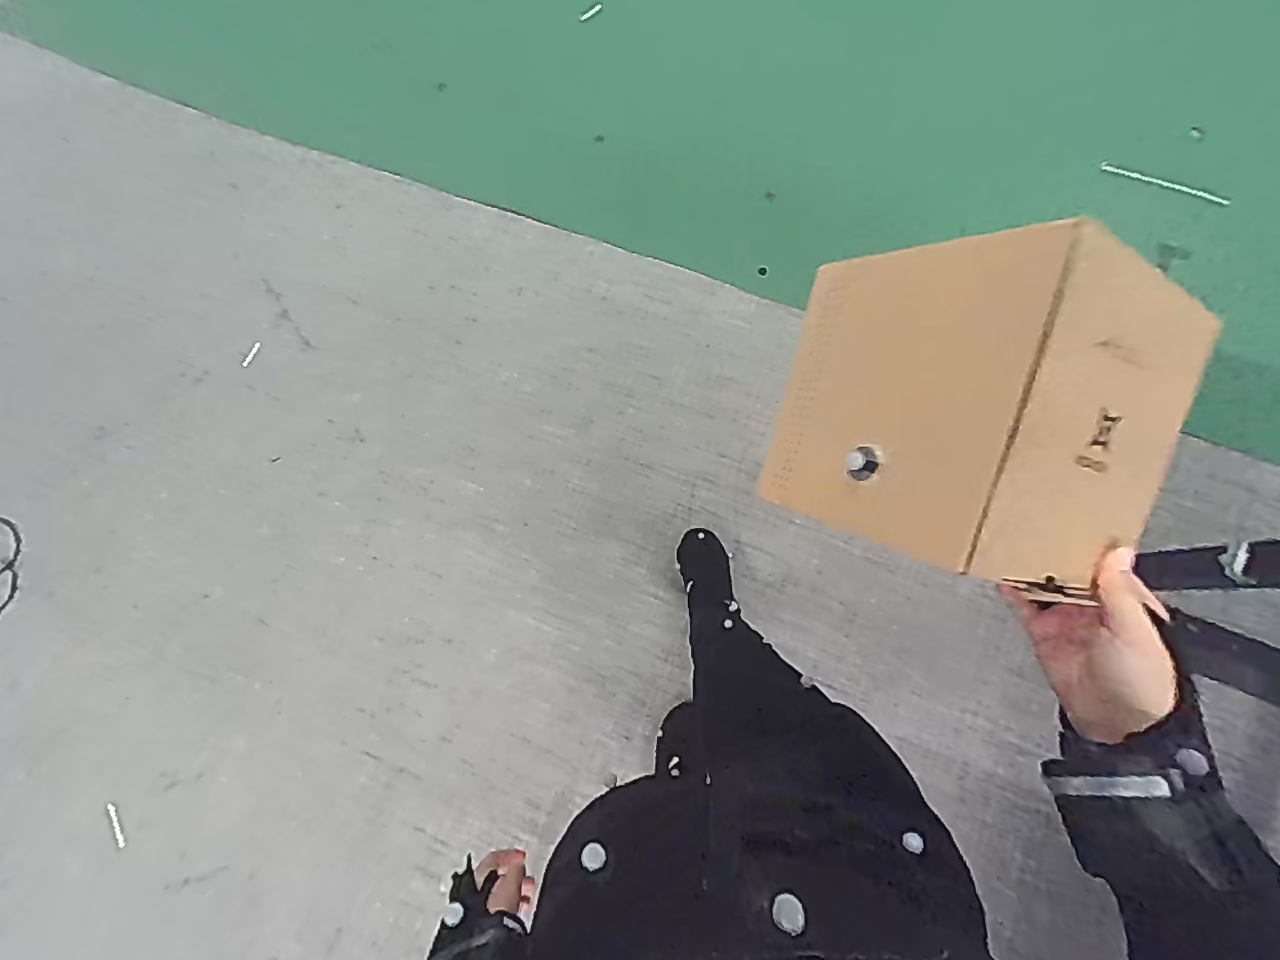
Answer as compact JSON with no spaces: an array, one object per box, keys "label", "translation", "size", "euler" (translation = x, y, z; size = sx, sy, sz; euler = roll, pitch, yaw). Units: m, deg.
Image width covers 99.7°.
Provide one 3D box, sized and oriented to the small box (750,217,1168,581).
[{"label":"small box","translation":[0.201,-0.045,0.375],"size":[0.168,0.176,0.179],"euler":[10,96,-29]}]
